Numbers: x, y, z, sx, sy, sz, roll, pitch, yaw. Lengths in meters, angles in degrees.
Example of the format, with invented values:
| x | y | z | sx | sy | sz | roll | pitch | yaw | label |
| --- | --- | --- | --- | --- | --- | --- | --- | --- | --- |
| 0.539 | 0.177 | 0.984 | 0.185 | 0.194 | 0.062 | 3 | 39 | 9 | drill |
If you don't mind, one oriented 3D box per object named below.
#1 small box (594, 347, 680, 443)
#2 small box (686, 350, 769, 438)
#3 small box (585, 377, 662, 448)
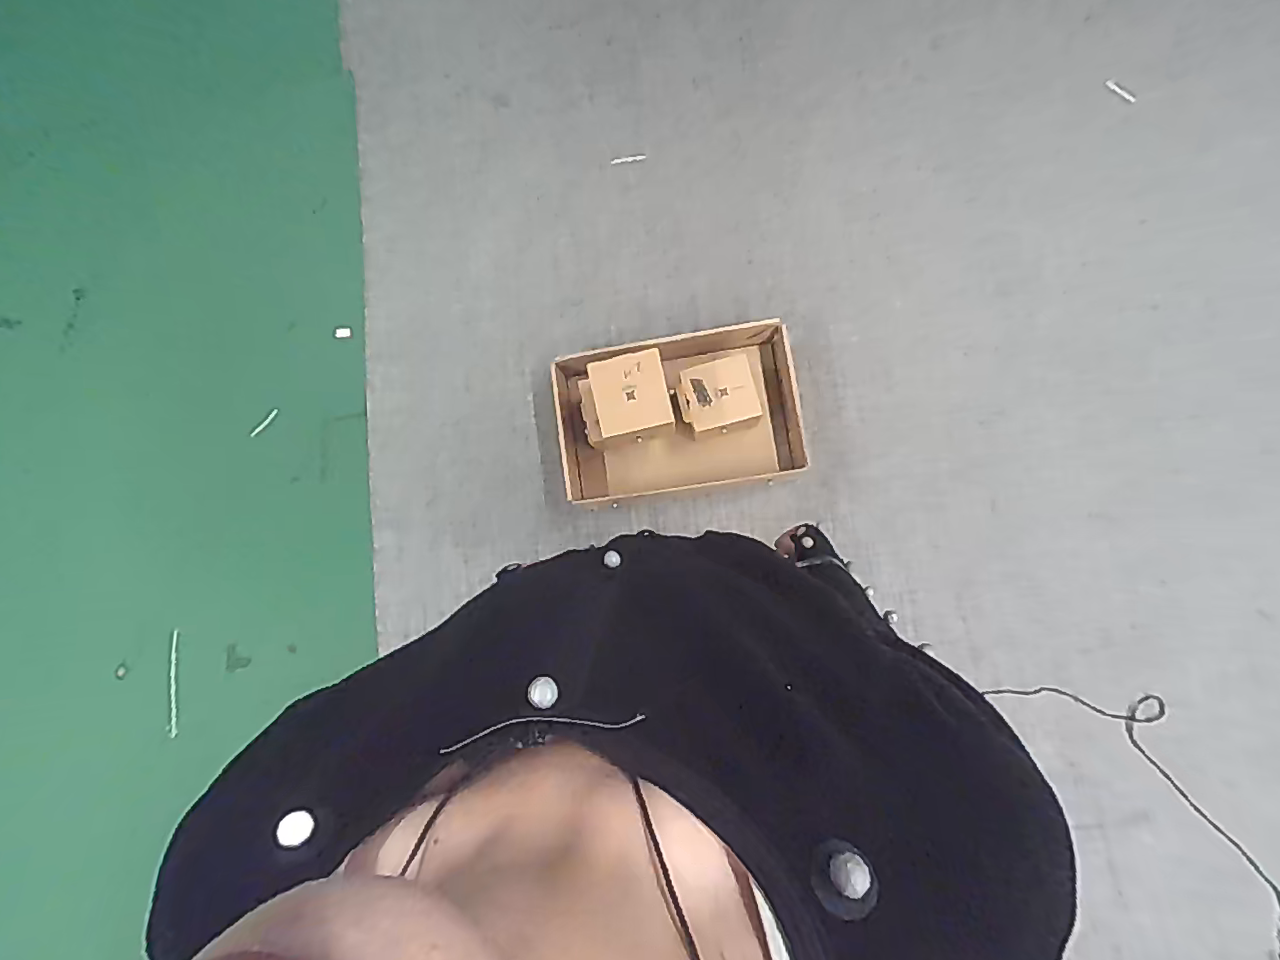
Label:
| x | y | z | sx | sy | sz | roll | pitch | yaw | label |
| --- | --- | --- | --- | --- | --- | --- | --- | --- | --- |
| -0.001 | -0.191 | 1.279 | 0.168 | 0.176 | 0.179 | -13 | 85 | 3 | small box |
| 0.226 | -0.216 | 1.419 | 0.179 | 0.176 | 0.168 | -15 | 84 | 5 | small box |
| -0.035 | -0.187 | 1.446 | 0.179 | 0.176 | 0.168 | -11 | 85 | 4 | small box |
